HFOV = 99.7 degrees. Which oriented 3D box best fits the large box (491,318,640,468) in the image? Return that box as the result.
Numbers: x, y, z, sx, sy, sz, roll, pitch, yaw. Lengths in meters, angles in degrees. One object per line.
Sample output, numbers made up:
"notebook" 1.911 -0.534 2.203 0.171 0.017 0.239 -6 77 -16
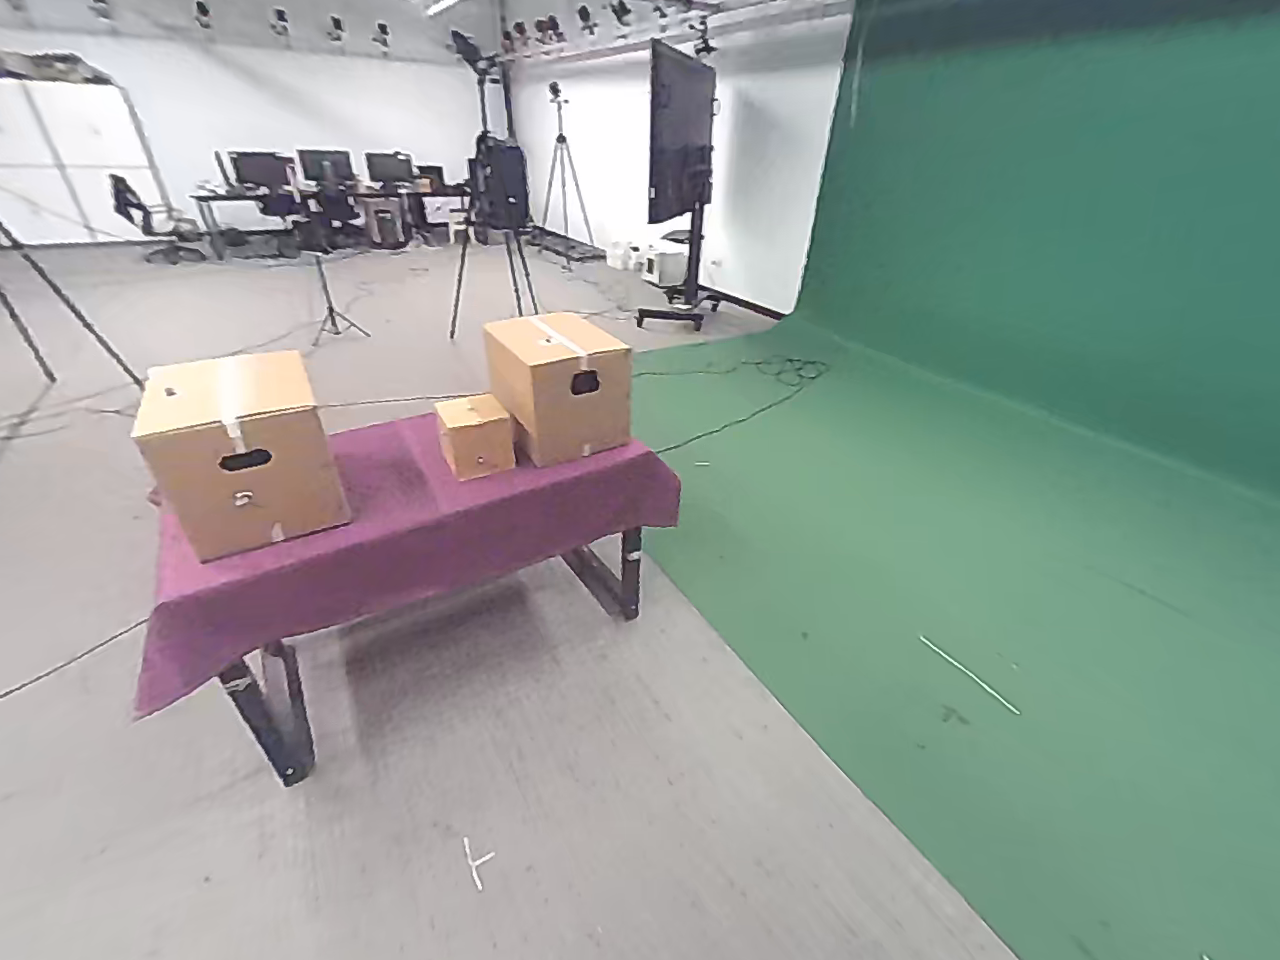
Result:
"large box" -0.242 -0.288 1.686 0.320 0.320 0.408 -16 38 -27
